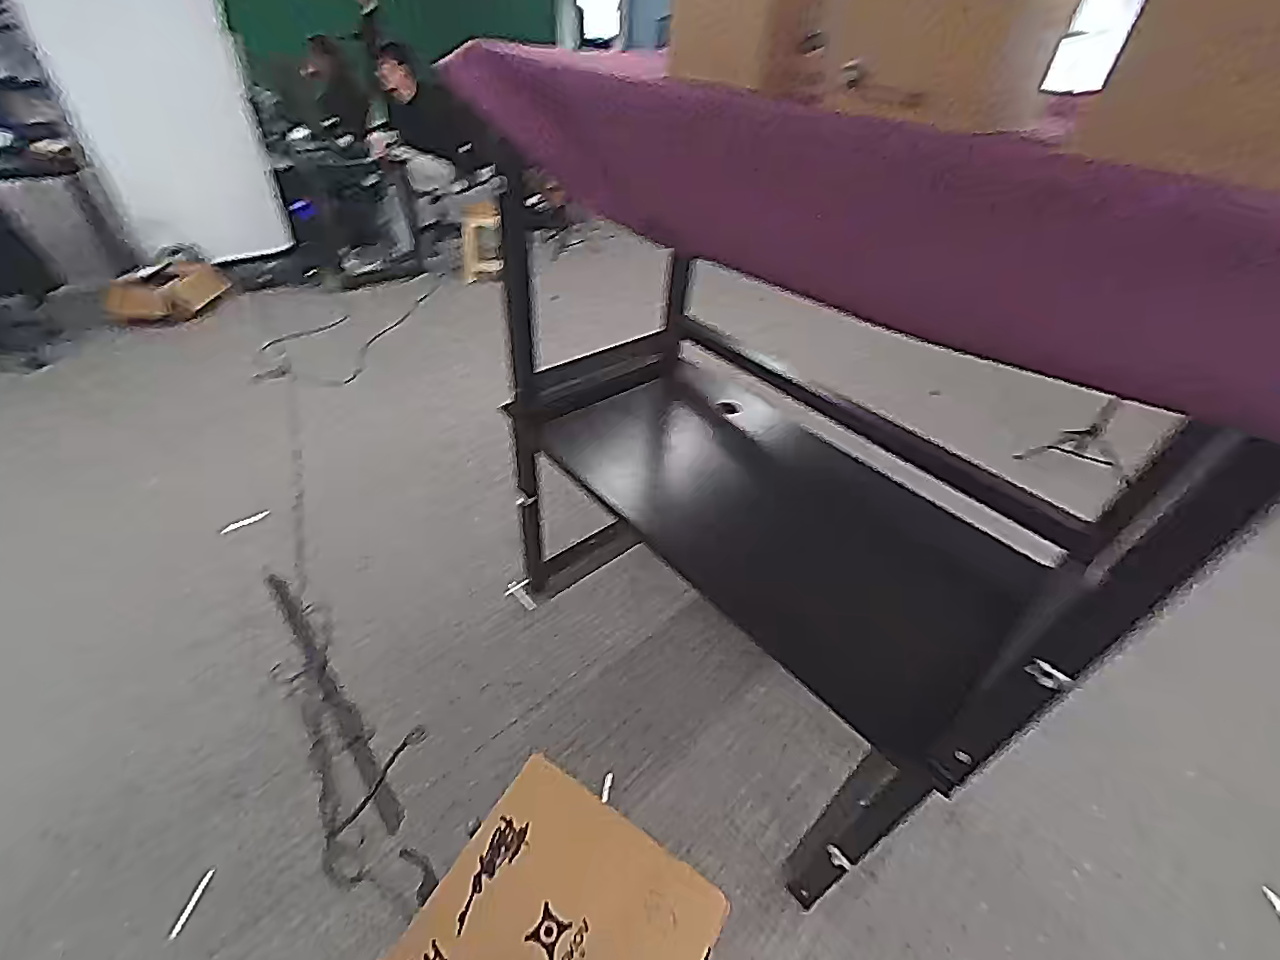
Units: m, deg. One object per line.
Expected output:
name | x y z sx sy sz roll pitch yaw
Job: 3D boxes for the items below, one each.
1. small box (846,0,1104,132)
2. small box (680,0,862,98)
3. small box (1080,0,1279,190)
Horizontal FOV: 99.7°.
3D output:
small box | 0.327 -0.448 0.524 0.179 0.176 0.168 -26 50 -33
small box | 0.168 -0.590 0.669 0.168 0.176 0.179 -24 49 -30
small box | 0.474 -0.307 0.377 0.168 0.176 0.179 -21 47 -31
